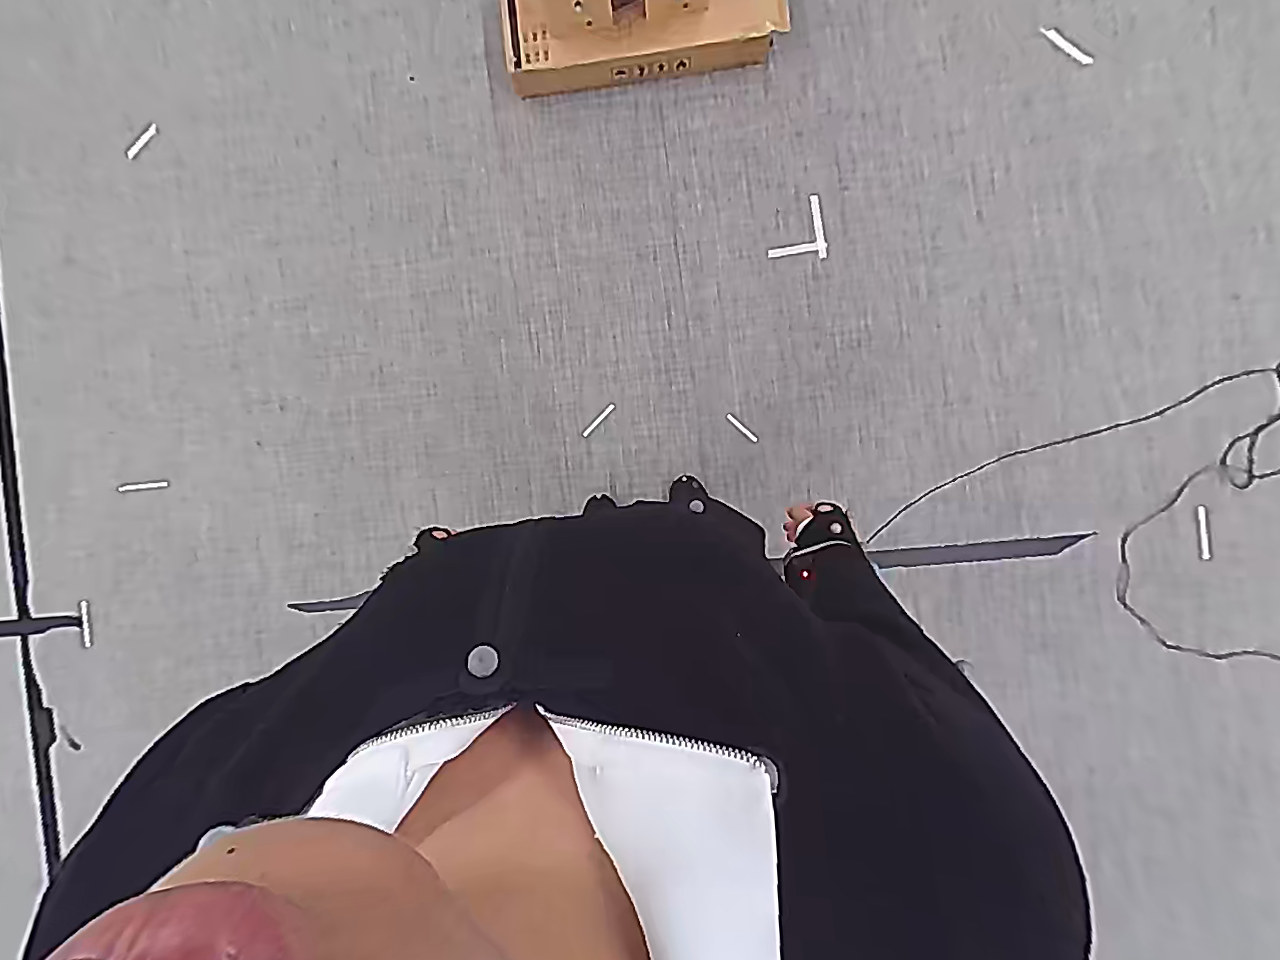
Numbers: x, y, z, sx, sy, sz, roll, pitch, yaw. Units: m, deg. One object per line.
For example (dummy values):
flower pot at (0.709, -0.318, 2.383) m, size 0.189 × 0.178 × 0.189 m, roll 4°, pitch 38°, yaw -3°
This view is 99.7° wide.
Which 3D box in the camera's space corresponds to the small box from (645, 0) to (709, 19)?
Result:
small box at (0.083, -1.284, 1.312) m, size 0.168 × 0.176 × 0.179 m, roll -7°, pitch 89°, yaw 4°

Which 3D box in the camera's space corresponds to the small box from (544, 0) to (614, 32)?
small box at (-0.162, -1.249, 1.326) m, size 0.168 × 0.176 × 0.179 m, roll -9°, pitch 90°, yaw 3°
